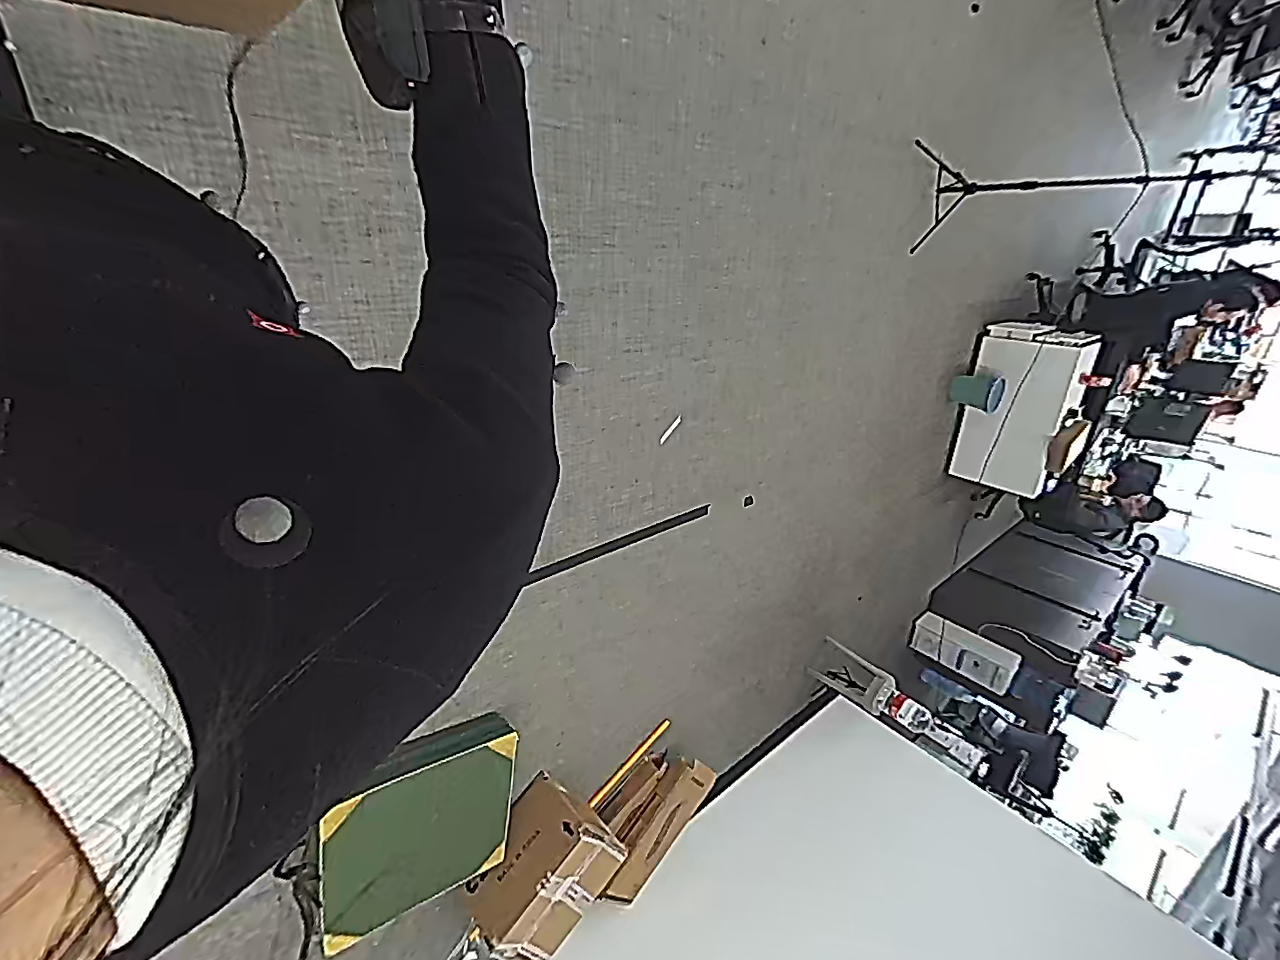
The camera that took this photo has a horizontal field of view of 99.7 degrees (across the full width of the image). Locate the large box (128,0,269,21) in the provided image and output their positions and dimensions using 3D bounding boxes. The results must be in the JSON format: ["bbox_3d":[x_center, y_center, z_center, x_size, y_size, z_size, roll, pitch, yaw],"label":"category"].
[{"bbox_3d":[-0.396,-0.433,0.204,0.408,0.320,0.320,-20,126,-37],"label":"large box"}]
